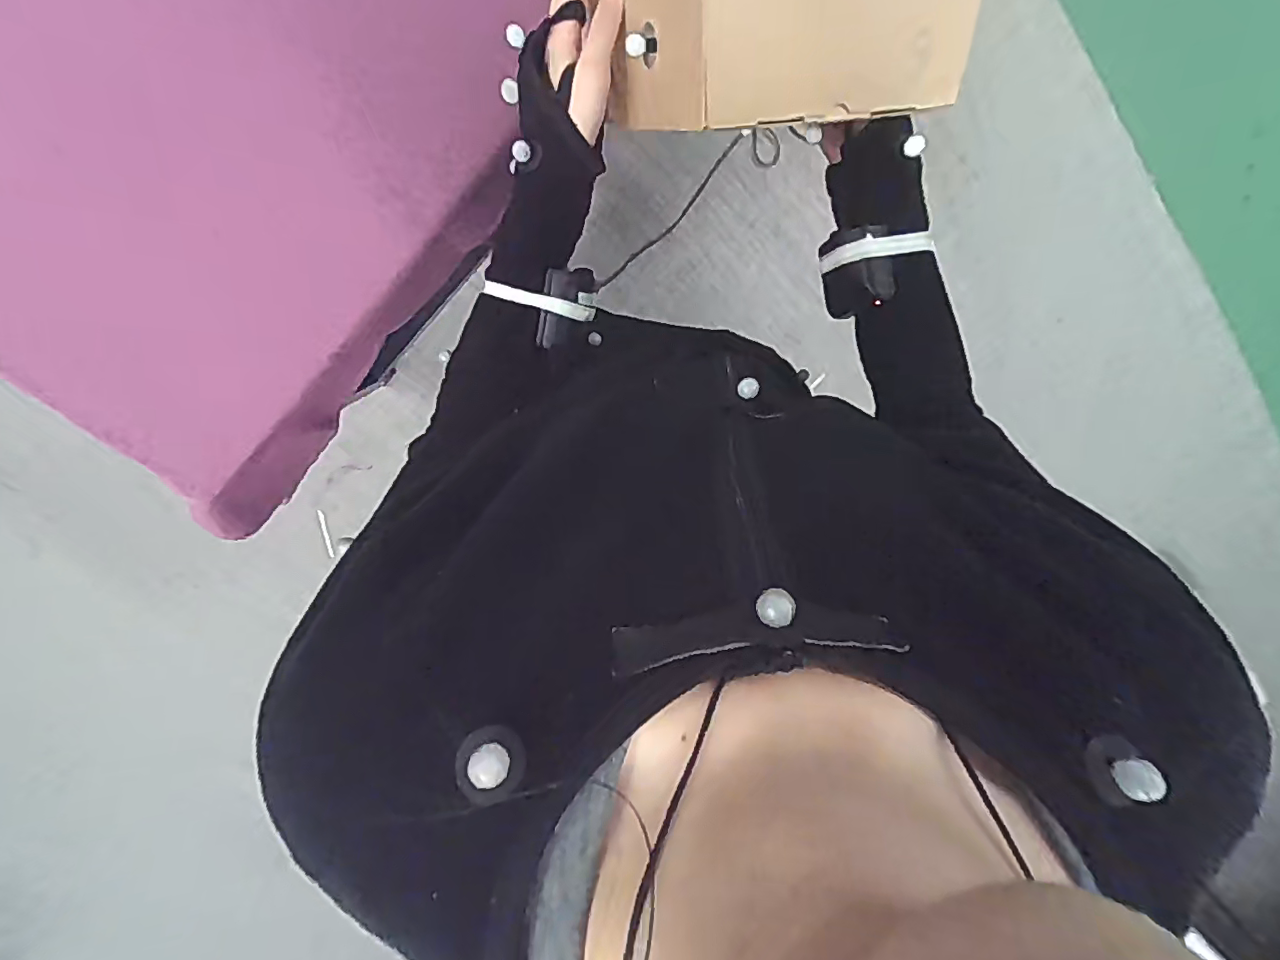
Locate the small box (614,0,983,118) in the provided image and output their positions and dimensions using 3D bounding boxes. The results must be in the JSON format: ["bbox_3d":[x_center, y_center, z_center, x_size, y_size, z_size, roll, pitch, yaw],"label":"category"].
[{"bbox_3d":[0.083,-0.322,0.318,0.168,0.176,0.179,-12,125,-14],"label":"small box"}]

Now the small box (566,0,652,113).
[{"bbox_3d":[0.034,-0.407,0.448,0.179,0.176,0.168,-11,125,-14],"label":"small box"}]
